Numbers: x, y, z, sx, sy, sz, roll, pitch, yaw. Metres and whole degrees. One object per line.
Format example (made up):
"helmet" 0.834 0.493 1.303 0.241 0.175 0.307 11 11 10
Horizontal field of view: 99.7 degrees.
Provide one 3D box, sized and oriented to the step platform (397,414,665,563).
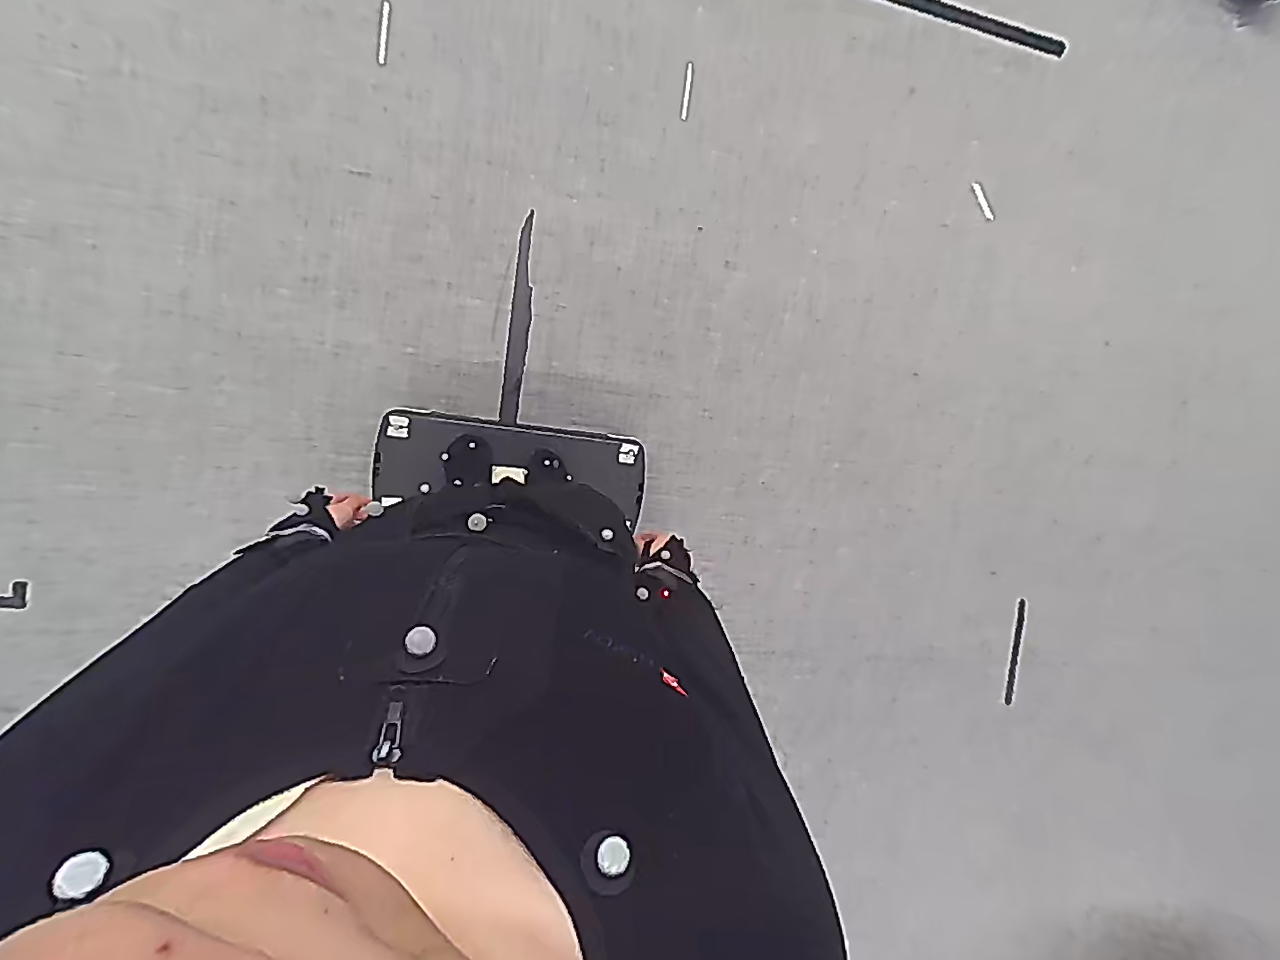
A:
"step platform" -0.278 0.026 1.450 0.684 0.204 0.286 11 92 -12
